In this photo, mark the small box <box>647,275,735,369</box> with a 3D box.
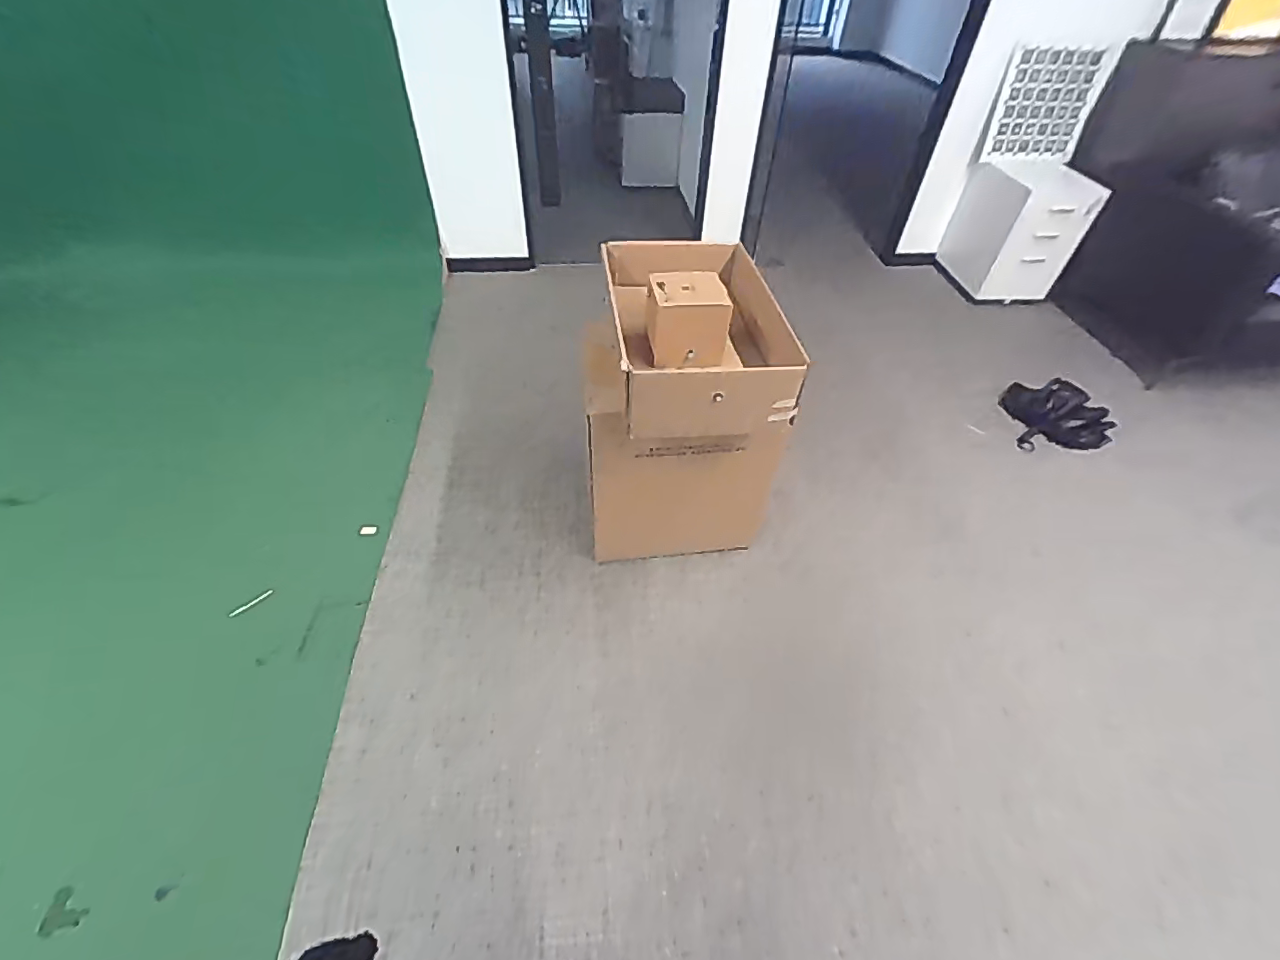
[{"bbox_3d":[0.118,-0.389,1.335,0.179,0.176,0.168,-4,45,-8],"label":"small box"}]
